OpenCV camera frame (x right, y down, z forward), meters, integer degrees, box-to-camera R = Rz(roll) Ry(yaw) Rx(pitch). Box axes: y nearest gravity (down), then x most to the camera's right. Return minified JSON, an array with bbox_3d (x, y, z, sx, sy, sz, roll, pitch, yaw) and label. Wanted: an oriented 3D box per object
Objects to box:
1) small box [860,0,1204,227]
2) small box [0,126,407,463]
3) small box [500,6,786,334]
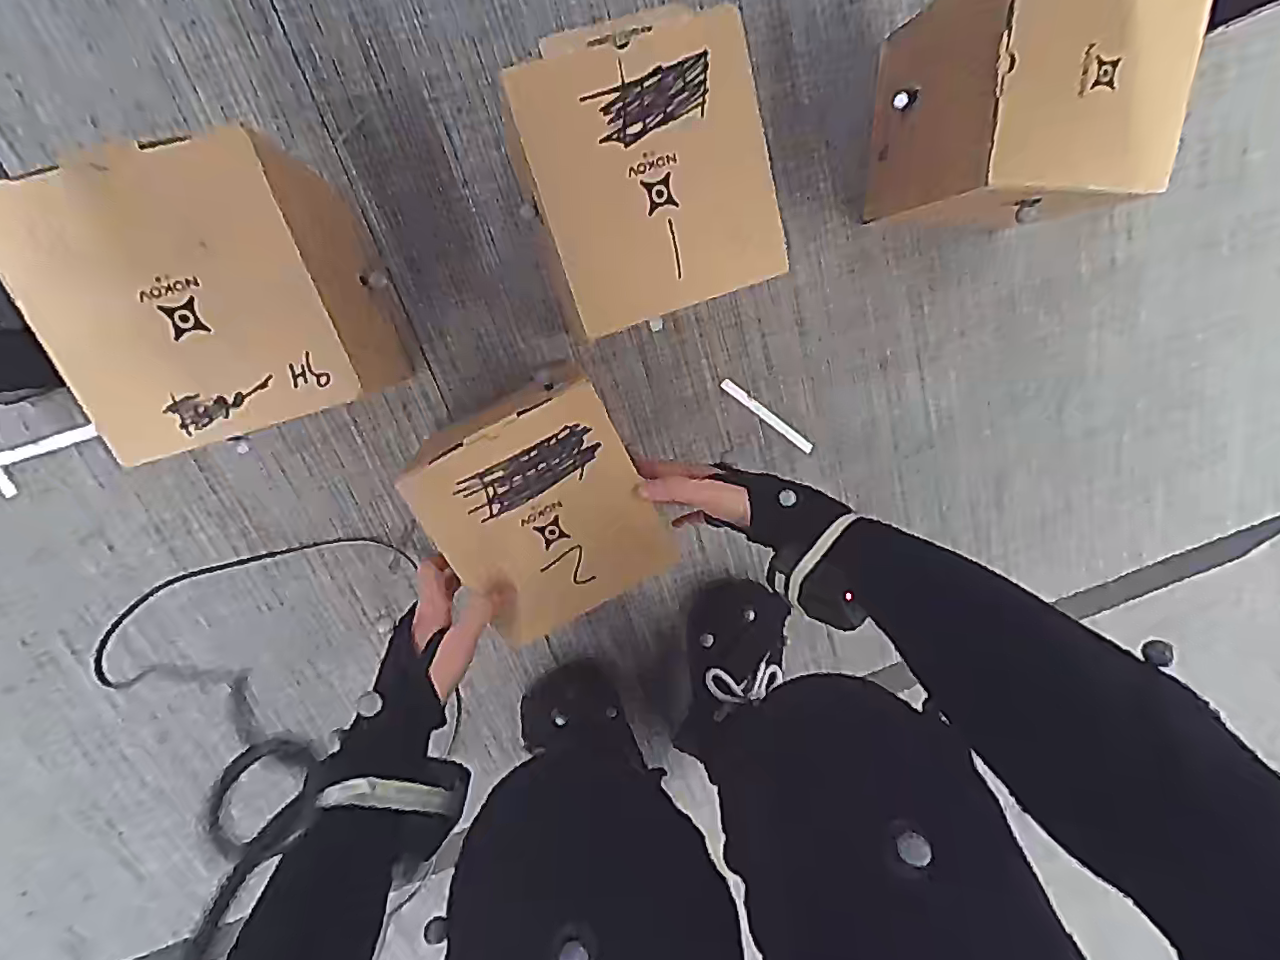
[{"bbox_3d":[0.333,-0.334,0.490,0.179,0.176,0.168,-3,106,-9],"label":"small box"},{"bbox_3d":[-0.305,-0.130,0.418,0.168,0.176,0.179,-18,106,-6],"label":"small box"},{"bbox_3d":[-0.006,-0.229,0.450,0.168,0.176,0.179,-20,109,-5],"label":"small box"}]
